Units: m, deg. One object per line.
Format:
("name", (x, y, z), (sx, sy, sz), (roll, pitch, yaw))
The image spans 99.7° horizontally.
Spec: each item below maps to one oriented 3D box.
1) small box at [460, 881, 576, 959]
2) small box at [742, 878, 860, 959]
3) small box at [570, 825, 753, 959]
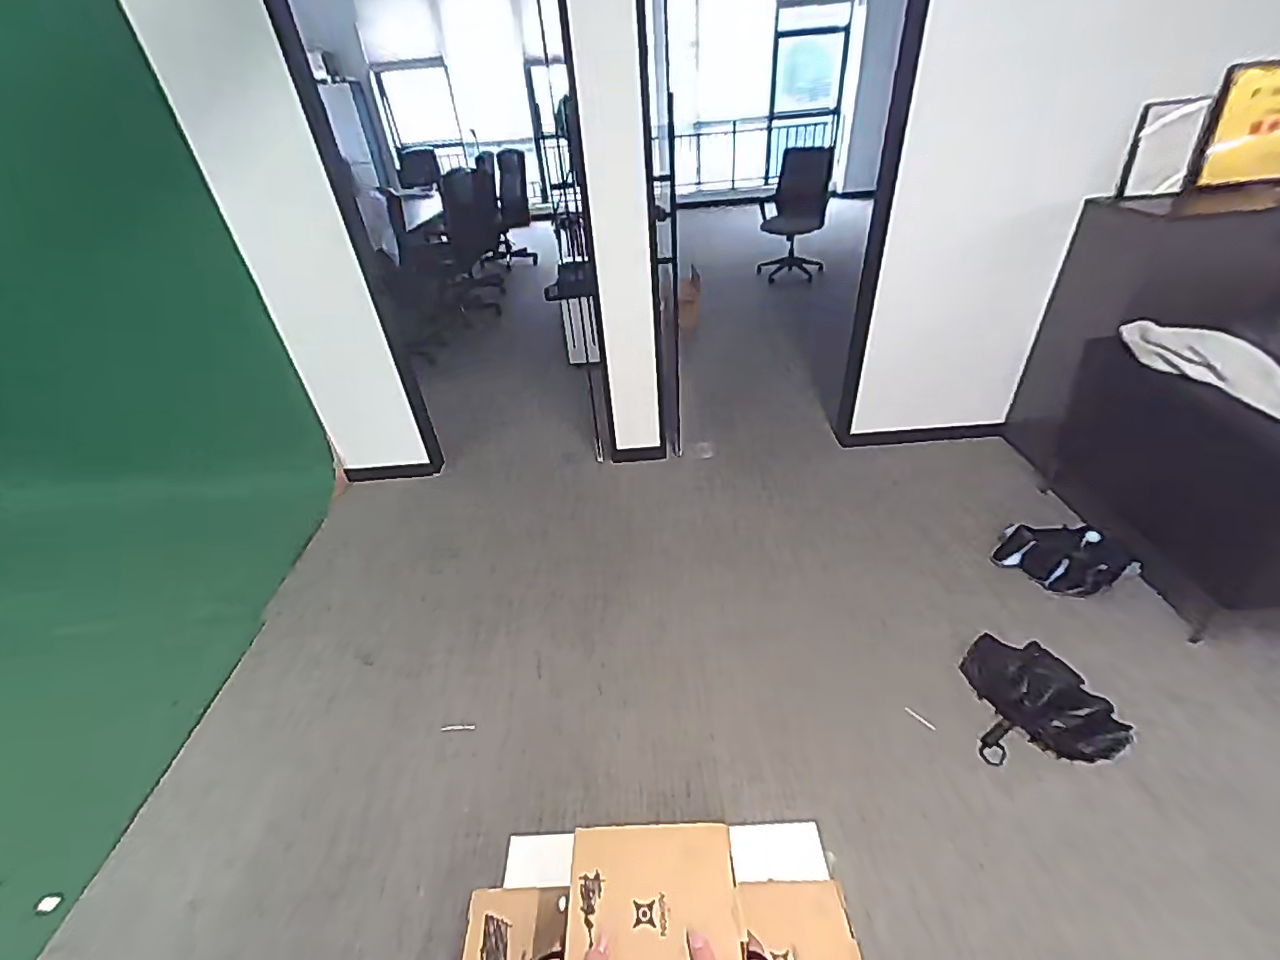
("small box", (-0.126, 0.635, 0.682), (0.179, 0.176, 0.168), (-1, 37, -1))
("small box", (0.174, 0.625, 0.678), (0.179, 0.176, 0.168), (-3, 36, 2))
("small box", (0.021, 0.499, 0.587), (0.179, 0.176, 0.168), (-1, 37, 0))
